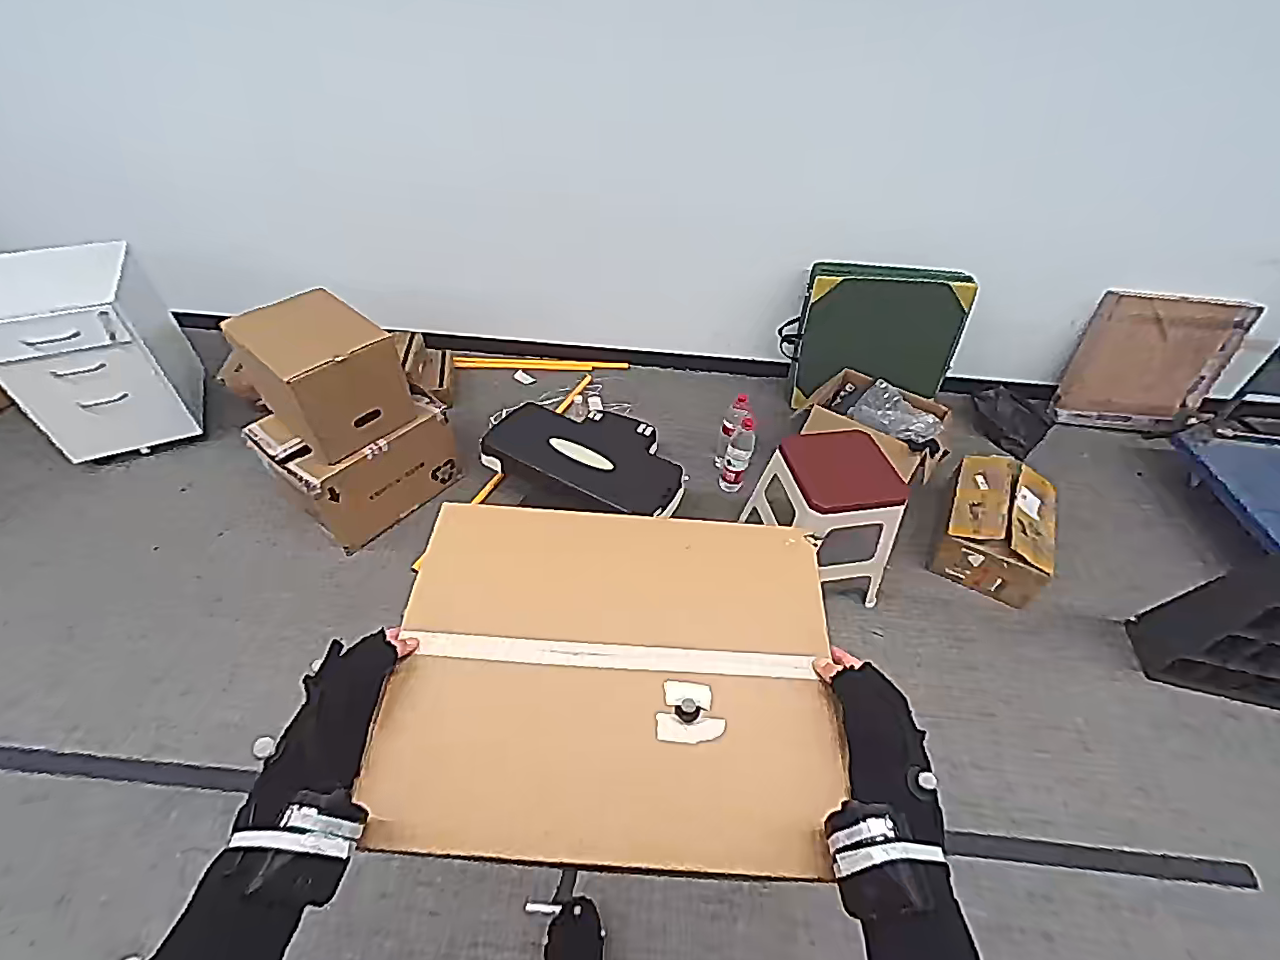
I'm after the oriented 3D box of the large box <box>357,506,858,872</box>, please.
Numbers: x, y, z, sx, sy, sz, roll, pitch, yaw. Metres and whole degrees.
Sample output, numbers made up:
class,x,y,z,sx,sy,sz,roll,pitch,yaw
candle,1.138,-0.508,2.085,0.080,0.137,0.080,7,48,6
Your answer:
class,x,y,z,sx,sy,sz,roll,pitch,yaw
large box,-0.026,0.252,0.628,0.408,0.320,0.320,5,54,0
